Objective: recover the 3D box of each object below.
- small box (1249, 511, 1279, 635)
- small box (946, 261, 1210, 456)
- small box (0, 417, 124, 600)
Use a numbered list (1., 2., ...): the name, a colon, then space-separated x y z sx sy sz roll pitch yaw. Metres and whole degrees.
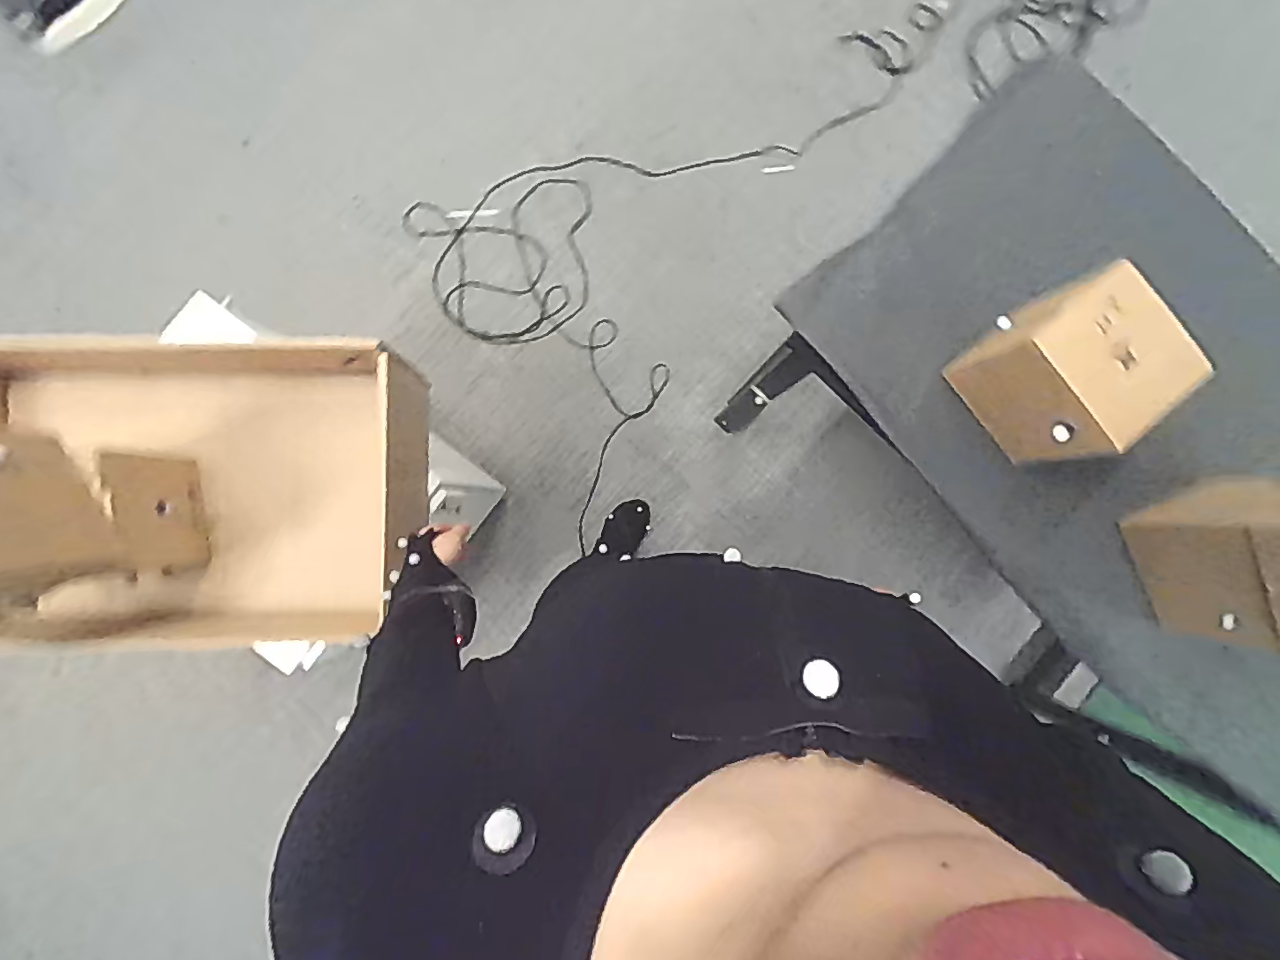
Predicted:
1. small box: 0.813 0.110 0.557 0.168 0.176 0.179 -15 88 -4
2. small box: 0.565 -0.145 0.722 0.168 0.176 0.179 -38 89 -5
3. small box: -0.738 0.037 0.583 0.168 0.176 0.179 -28 92 -3
